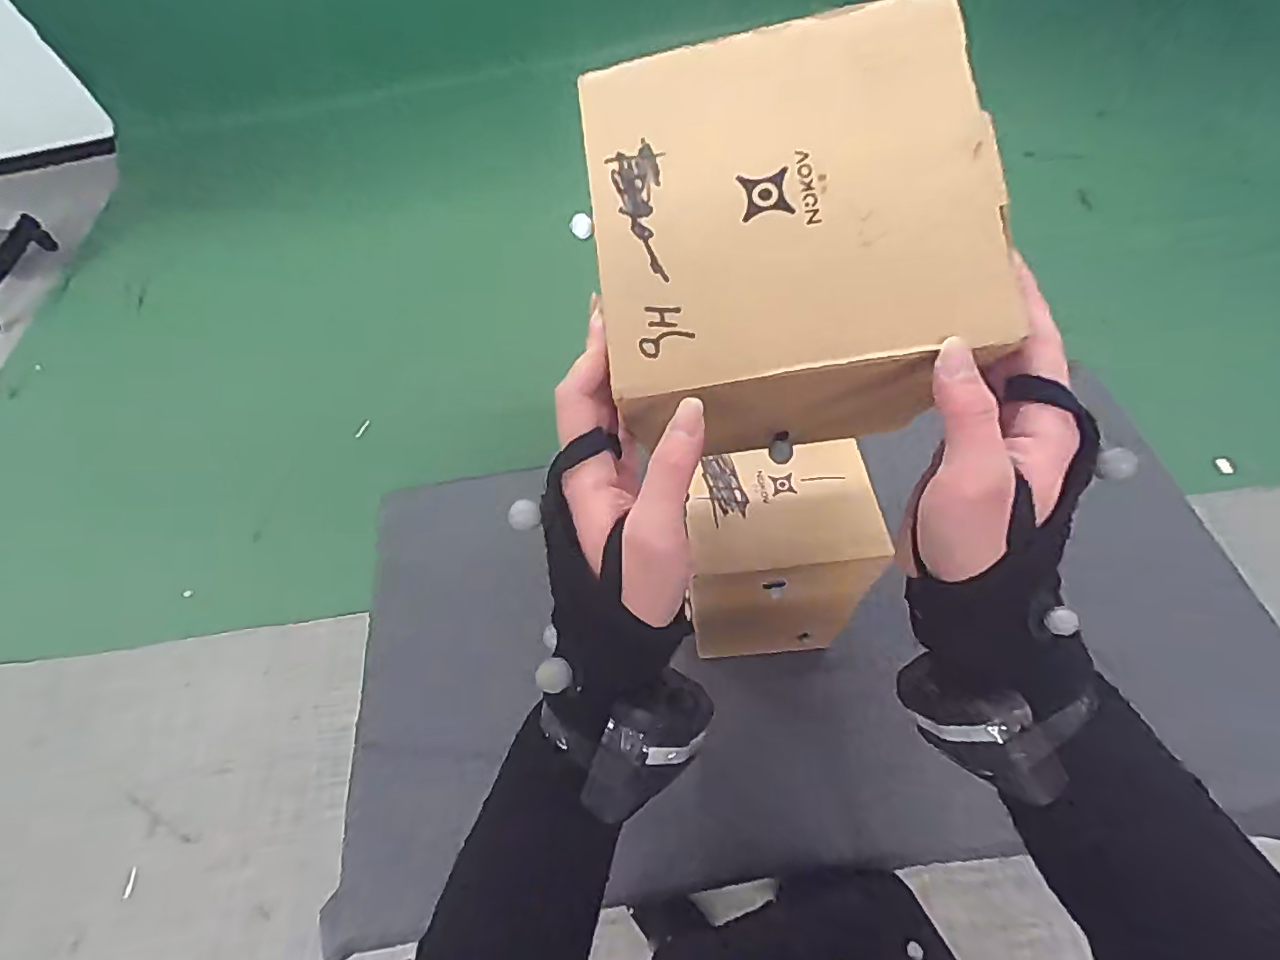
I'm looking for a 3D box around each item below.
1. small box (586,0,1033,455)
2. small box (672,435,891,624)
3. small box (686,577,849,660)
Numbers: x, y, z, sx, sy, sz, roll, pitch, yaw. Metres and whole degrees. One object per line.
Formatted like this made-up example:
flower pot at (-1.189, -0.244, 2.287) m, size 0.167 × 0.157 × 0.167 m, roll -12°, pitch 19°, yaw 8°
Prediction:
small box at (0.074, -0.116, 0.315) m, size 0.179 × 0.176 × 0.168 m, roll -6°, pitch 80°, yaw 5°
small box at (0.130, 0.045, 0.568) m, size 0.179 × 0.176 × 0.168 m, roll -6°, pitch 59°, yaw 2°
small box at (0.151, 0.130, 0.708) m, size 0.179 × 0.176 × 0.168 m, roll -7°, pitch 59°, yaw 5°
